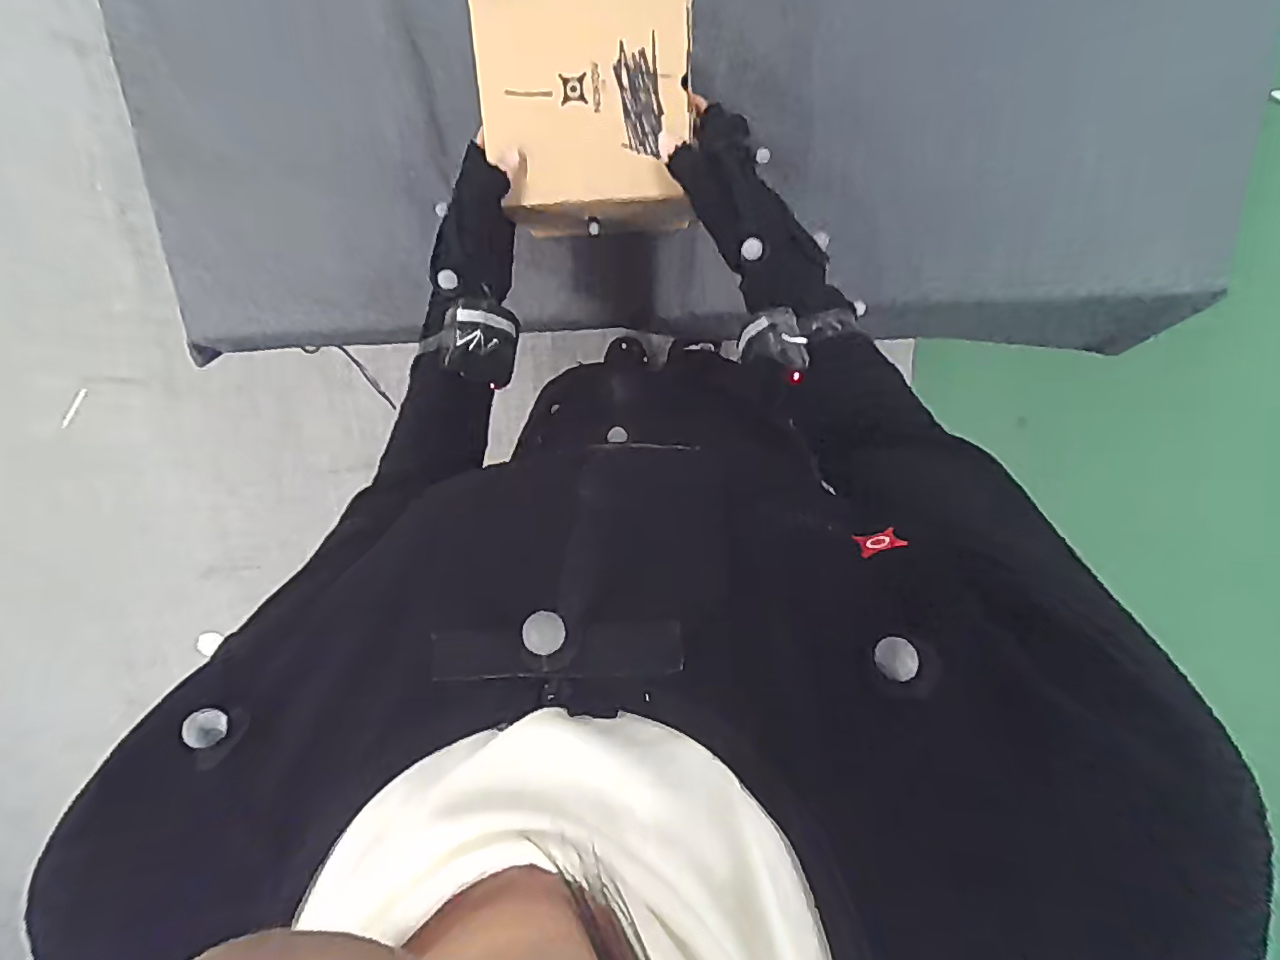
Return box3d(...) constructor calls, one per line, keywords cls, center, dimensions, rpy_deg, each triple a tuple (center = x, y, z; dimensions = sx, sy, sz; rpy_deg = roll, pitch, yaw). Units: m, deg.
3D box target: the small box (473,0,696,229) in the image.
box3d(cls="small box", center=(-0.038, -0.343, 0.515), dimensions=(0.179, 0.176, 0.168), rpy_deg=(-1, 106, 5))
